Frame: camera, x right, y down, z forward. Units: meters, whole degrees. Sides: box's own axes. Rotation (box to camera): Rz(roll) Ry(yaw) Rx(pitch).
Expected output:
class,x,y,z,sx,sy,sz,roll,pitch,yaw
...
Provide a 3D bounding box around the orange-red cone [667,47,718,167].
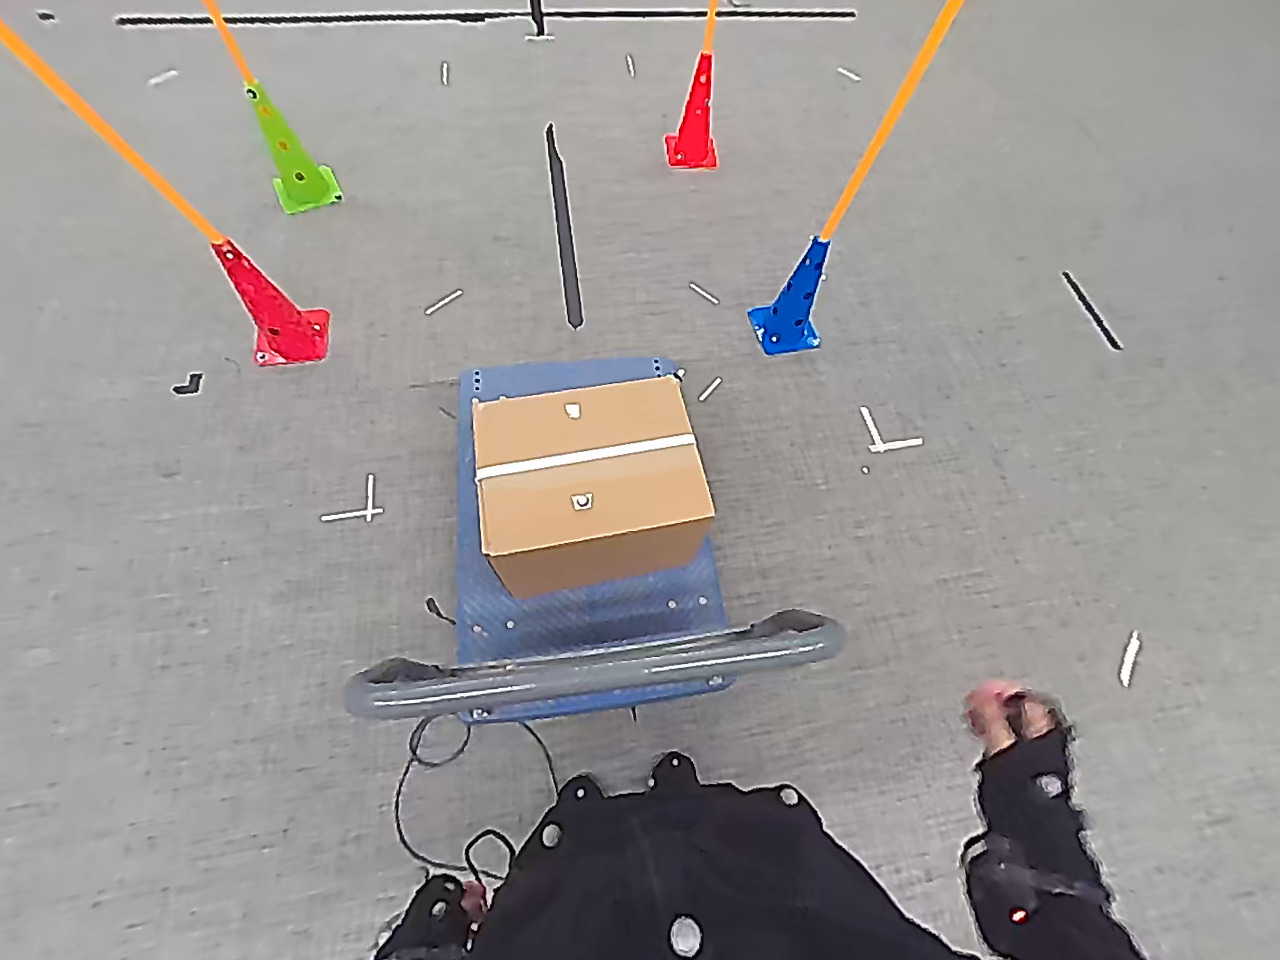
class,x,y,z,sx,sy,sz,roll,pitch,yaw
orange-red cone,0.220,-1.389,1.997,0.199,0.360,0.198,0,65,-6

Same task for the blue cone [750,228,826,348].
class,x,y,z,sx,sy,sz,roll,pitch,yaw
blue cone,0.487,-0.590,1.651,0.193,0.380,0.192,-10,65,-10
